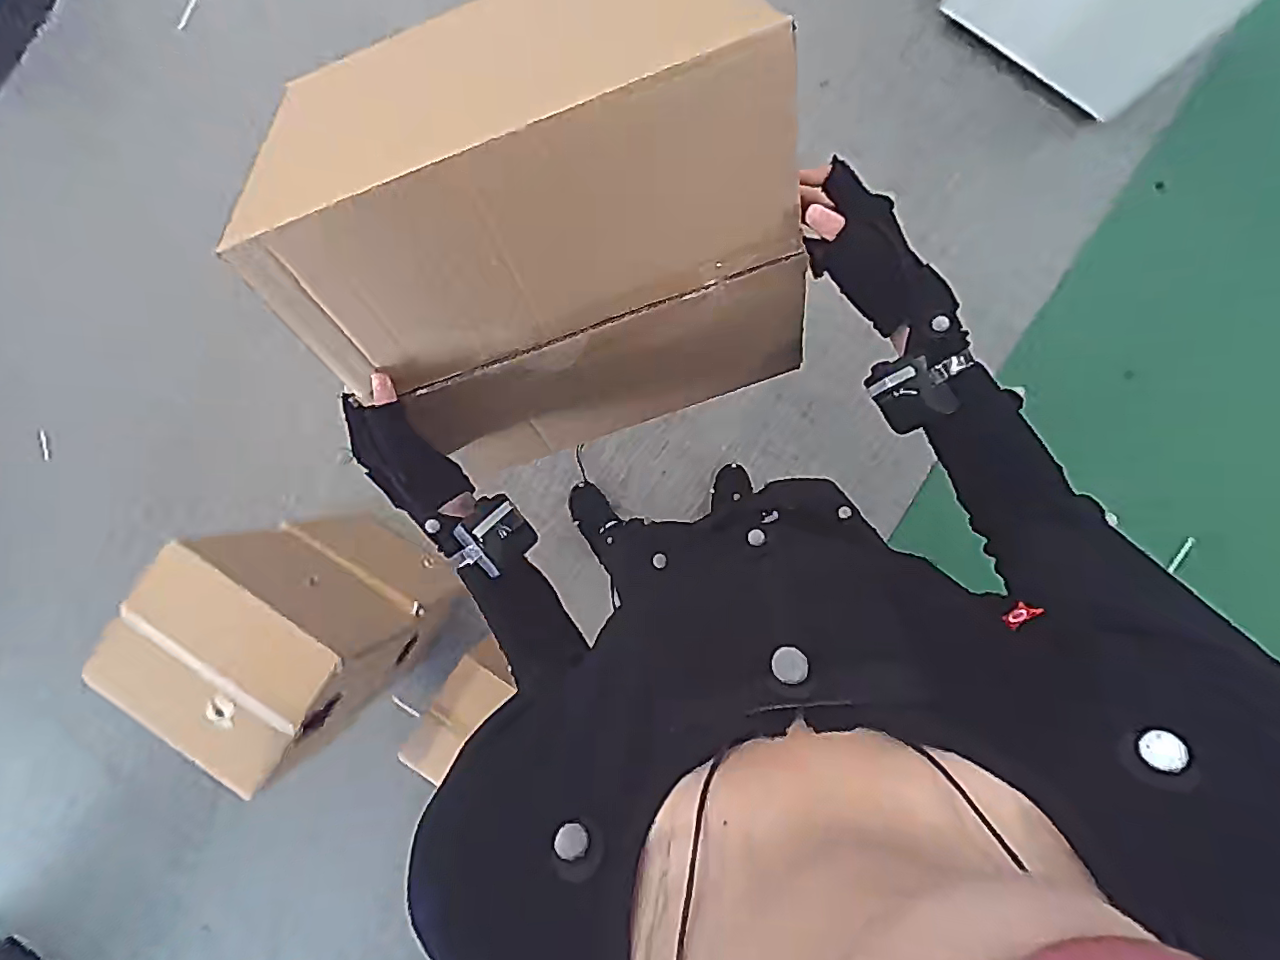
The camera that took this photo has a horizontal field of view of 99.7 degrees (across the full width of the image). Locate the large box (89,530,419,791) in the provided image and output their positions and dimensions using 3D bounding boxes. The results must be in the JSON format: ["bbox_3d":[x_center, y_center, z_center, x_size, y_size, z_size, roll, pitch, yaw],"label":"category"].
[{"bbox_3d":[-0.771,0.341,1.142,0.408,0.320,0.320,33,90,3],"label":"large box"}]
